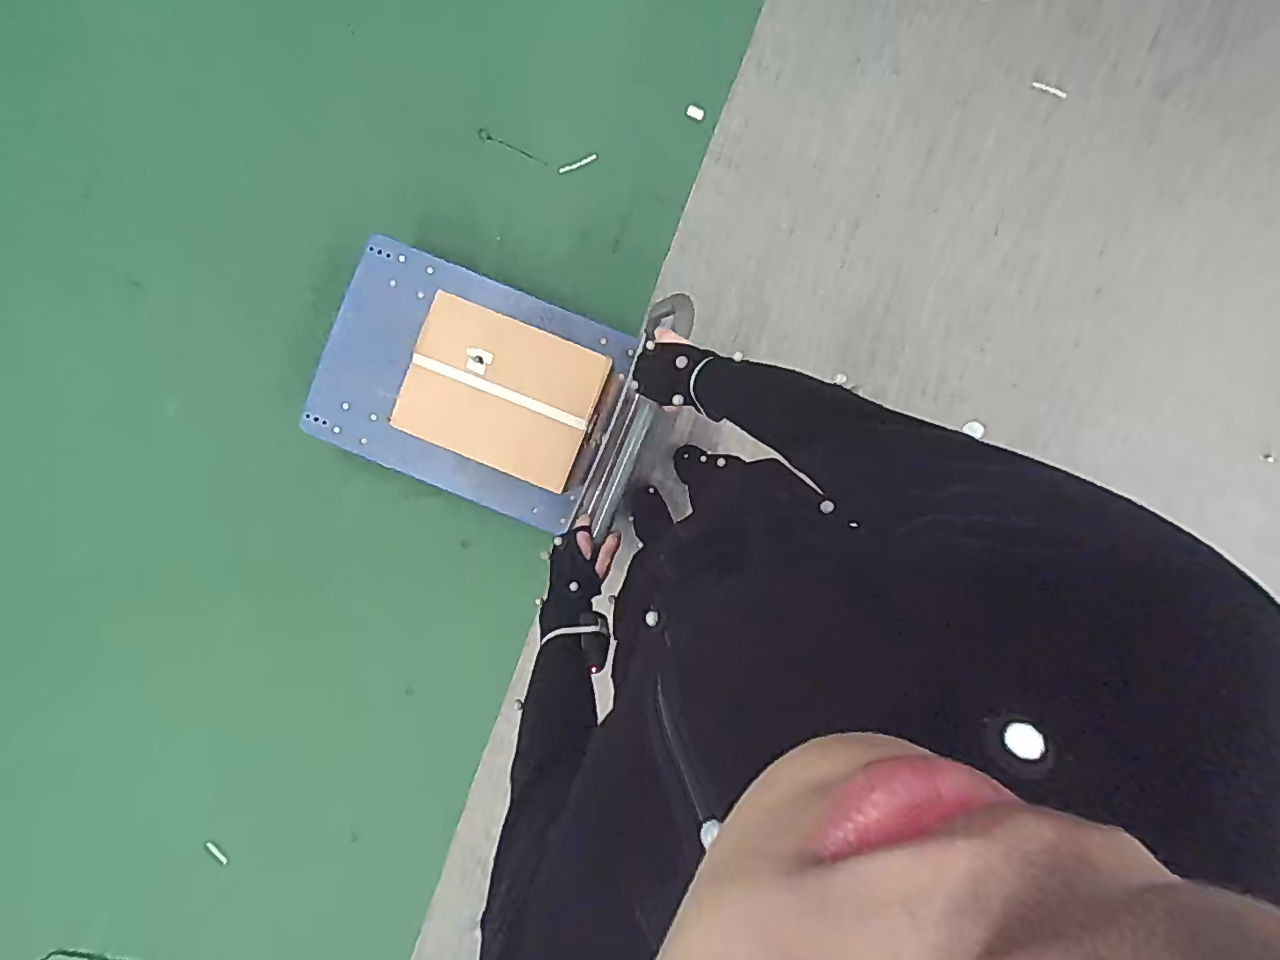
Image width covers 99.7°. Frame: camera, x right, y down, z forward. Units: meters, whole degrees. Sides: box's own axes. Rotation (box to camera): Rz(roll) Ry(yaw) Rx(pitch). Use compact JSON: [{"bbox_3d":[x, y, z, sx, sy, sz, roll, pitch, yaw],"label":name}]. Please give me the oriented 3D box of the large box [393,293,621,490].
[{"bbox_3d":[-0.289,-0.195,1.301,0.408,0.320,0.320,22,93,1],"label":"large box"}]
